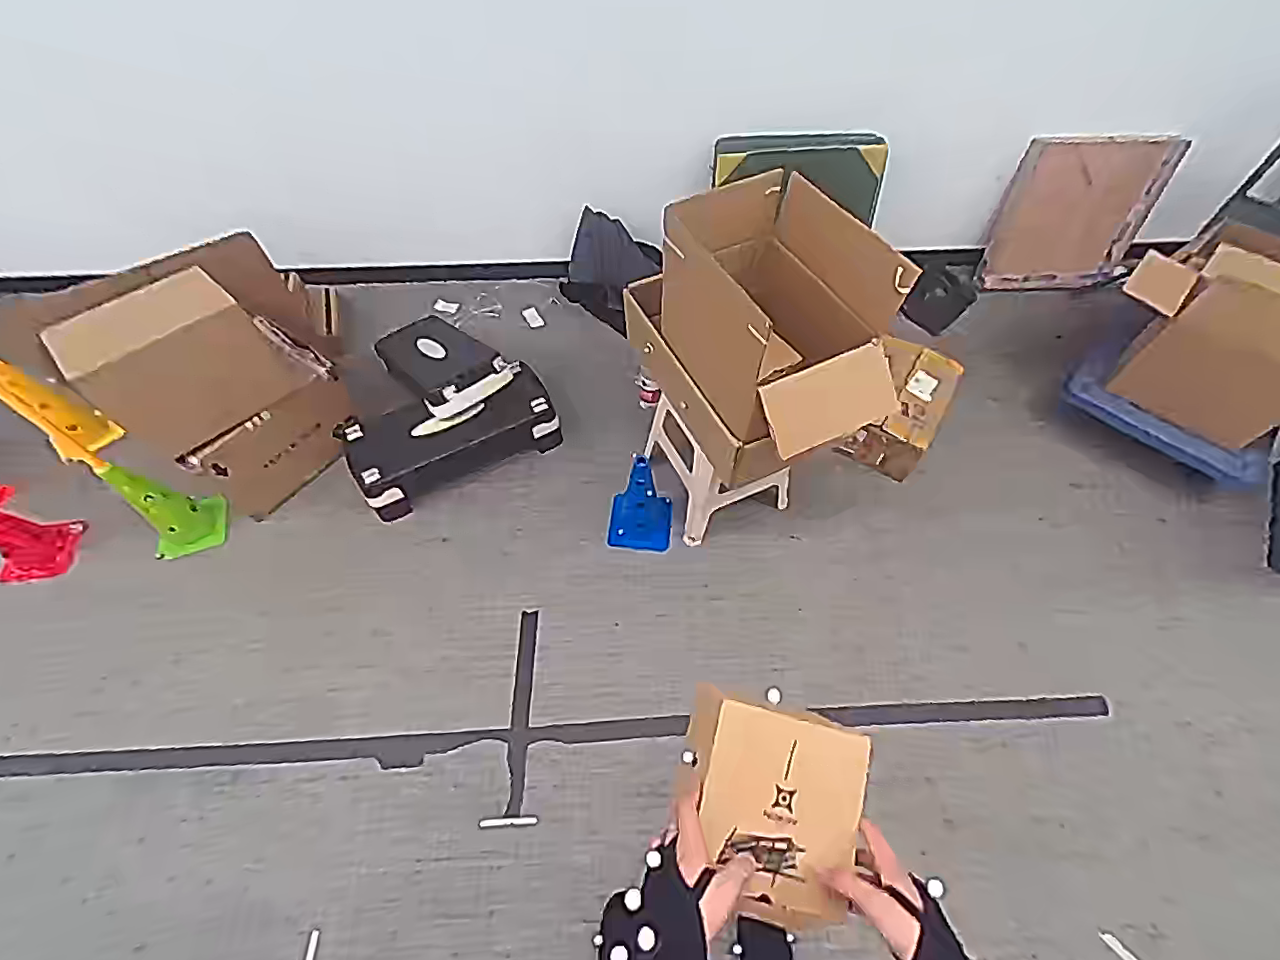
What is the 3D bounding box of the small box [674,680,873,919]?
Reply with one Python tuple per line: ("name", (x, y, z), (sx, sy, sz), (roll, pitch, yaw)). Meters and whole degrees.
("small box", (0.142, 0.349, 0.629), (0.168, 0.176, 0.179), (15, 75, 0))
